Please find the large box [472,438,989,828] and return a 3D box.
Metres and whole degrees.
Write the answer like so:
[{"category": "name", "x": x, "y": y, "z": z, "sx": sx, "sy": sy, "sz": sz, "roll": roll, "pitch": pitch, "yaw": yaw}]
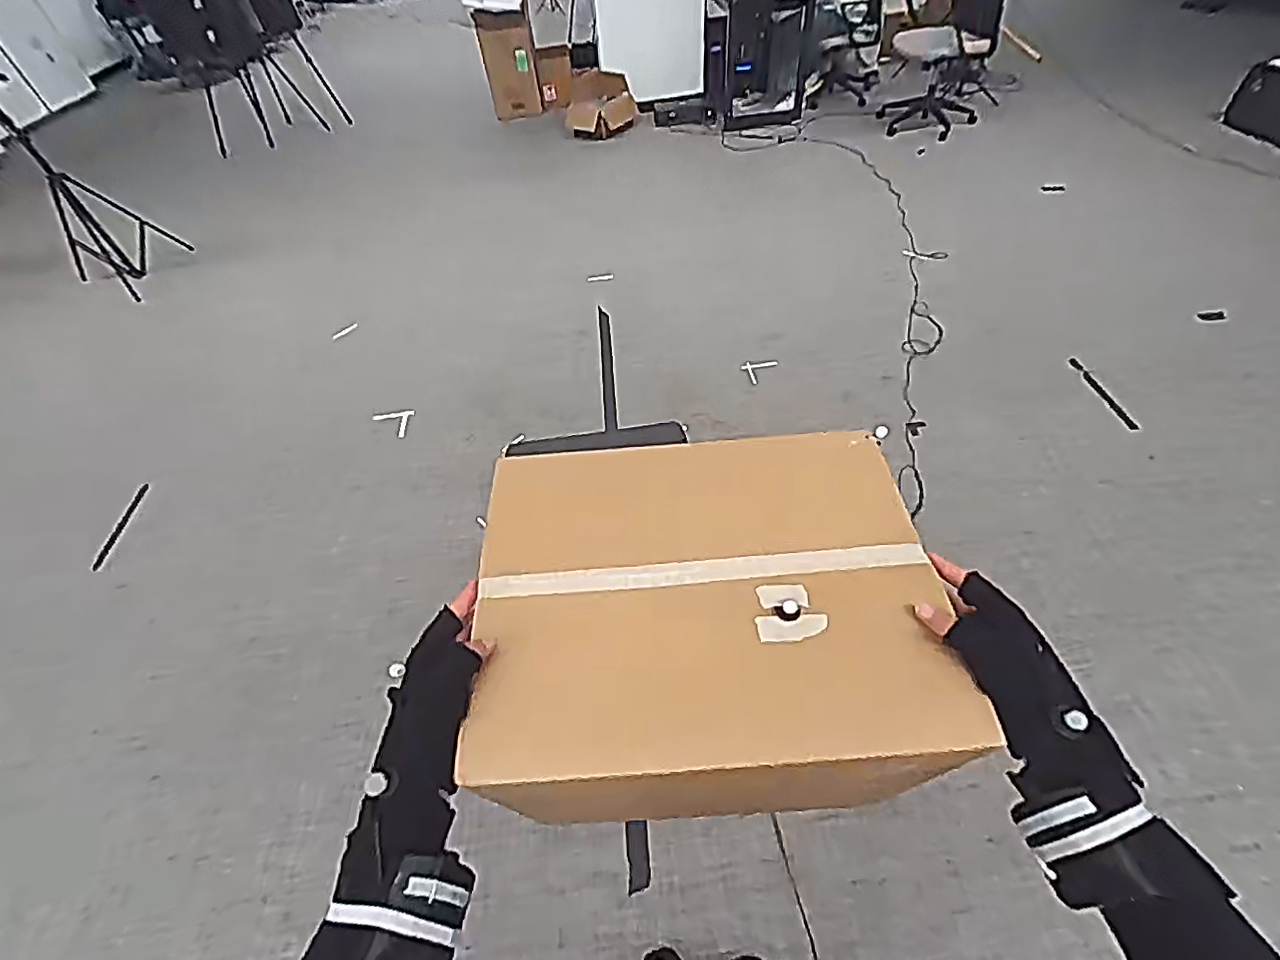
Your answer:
[{"category": "large box", "x": 0.064, "y": 0.181, "z": 0.613, "sx": 0.408, "sy": 0.320, "sz": 0.320, "roll": -4, "pitch": 53, "yaw": 0}]
